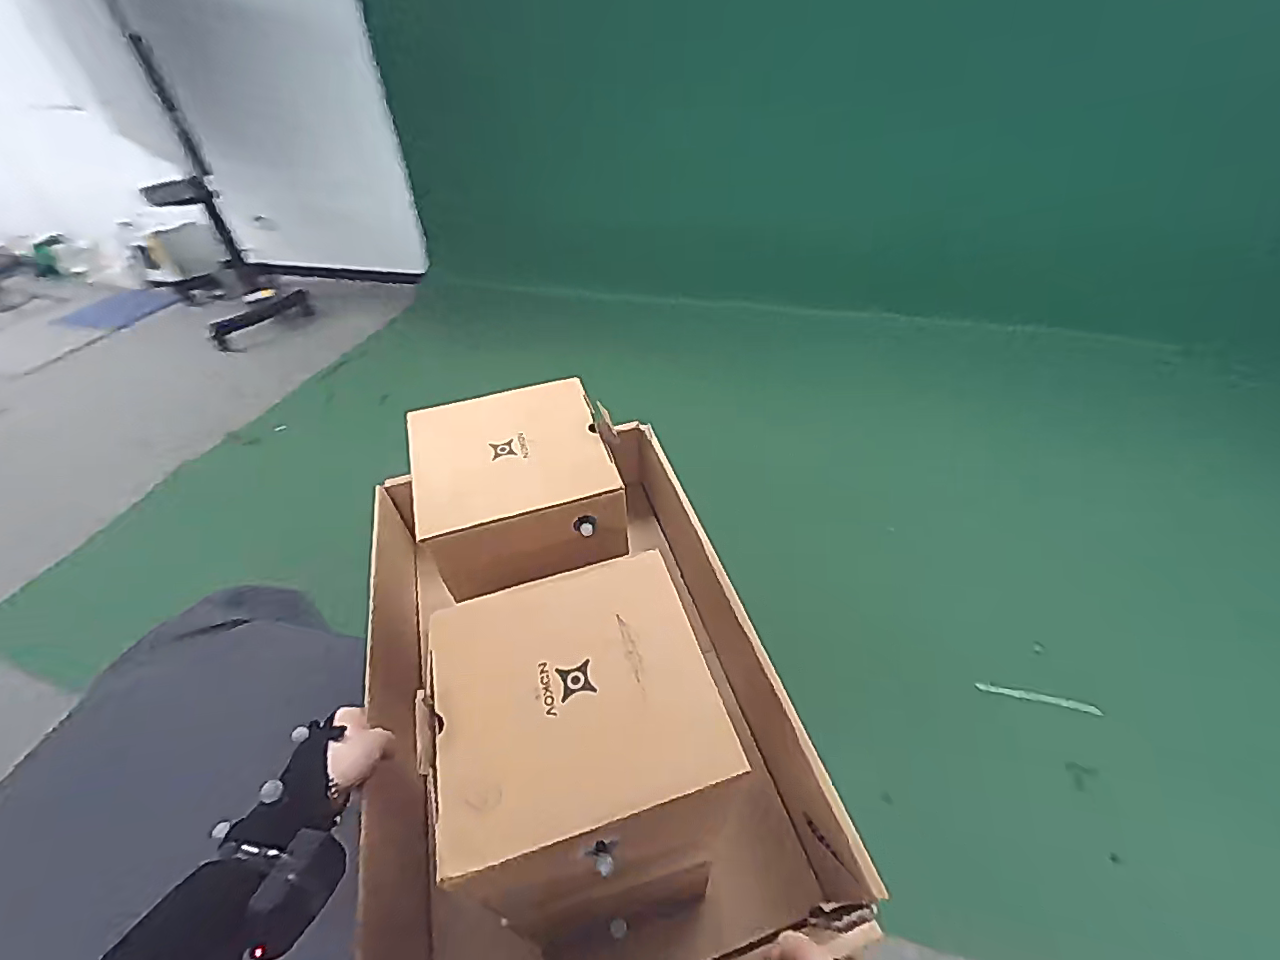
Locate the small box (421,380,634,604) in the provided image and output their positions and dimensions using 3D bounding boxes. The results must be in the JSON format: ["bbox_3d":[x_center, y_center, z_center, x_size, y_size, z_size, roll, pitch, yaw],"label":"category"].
[{"bbox_3d":[-0.109,0.027,0.558,0.179,0.176,0.168,-14,49,-11],"label":"small box"}]

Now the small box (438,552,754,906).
[{"bbox_3d":[-0.034,0.185,0.402,0.179,0.176,0.168,-14,48,-10],"label":"small box"}]
